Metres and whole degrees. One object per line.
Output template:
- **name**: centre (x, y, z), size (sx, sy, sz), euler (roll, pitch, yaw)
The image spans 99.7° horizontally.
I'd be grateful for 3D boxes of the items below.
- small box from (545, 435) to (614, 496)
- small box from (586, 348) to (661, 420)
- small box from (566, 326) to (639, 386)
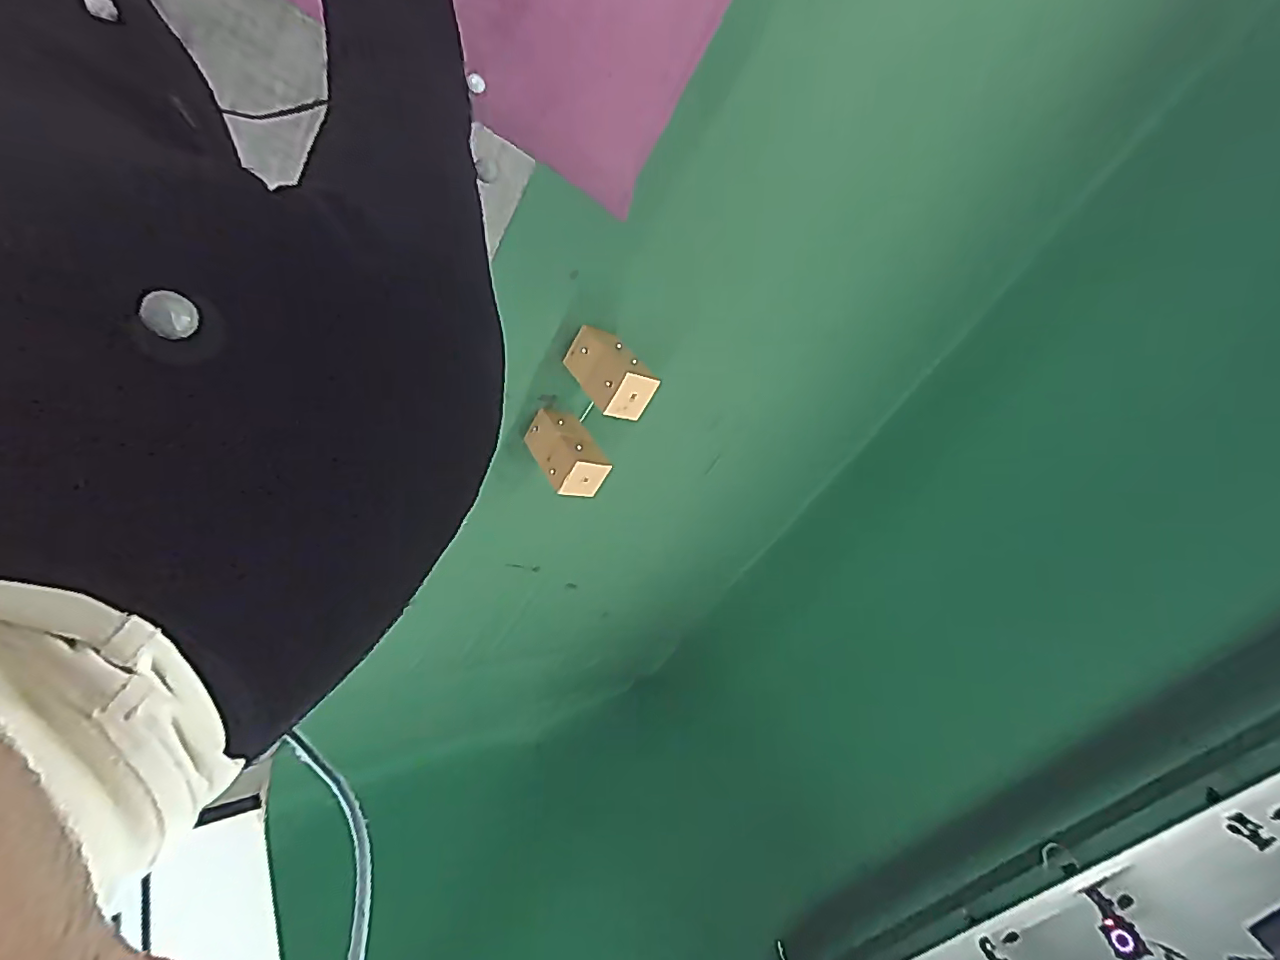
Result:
- **small box**: centre (-0.239, -0.057, 2.081), size (0.179, 0.176, 0.168), euler (6, 128, -45)
- **small box**: centre (-0.064, -0.340, 1.904), size (0.168, 0.176, 0.179), euler (5, 128, -45)
- **small box**: centre (-0.145, -0.446, 2.000), size (0.179, 0.176, 0.168), euler (4, 128, -46)
